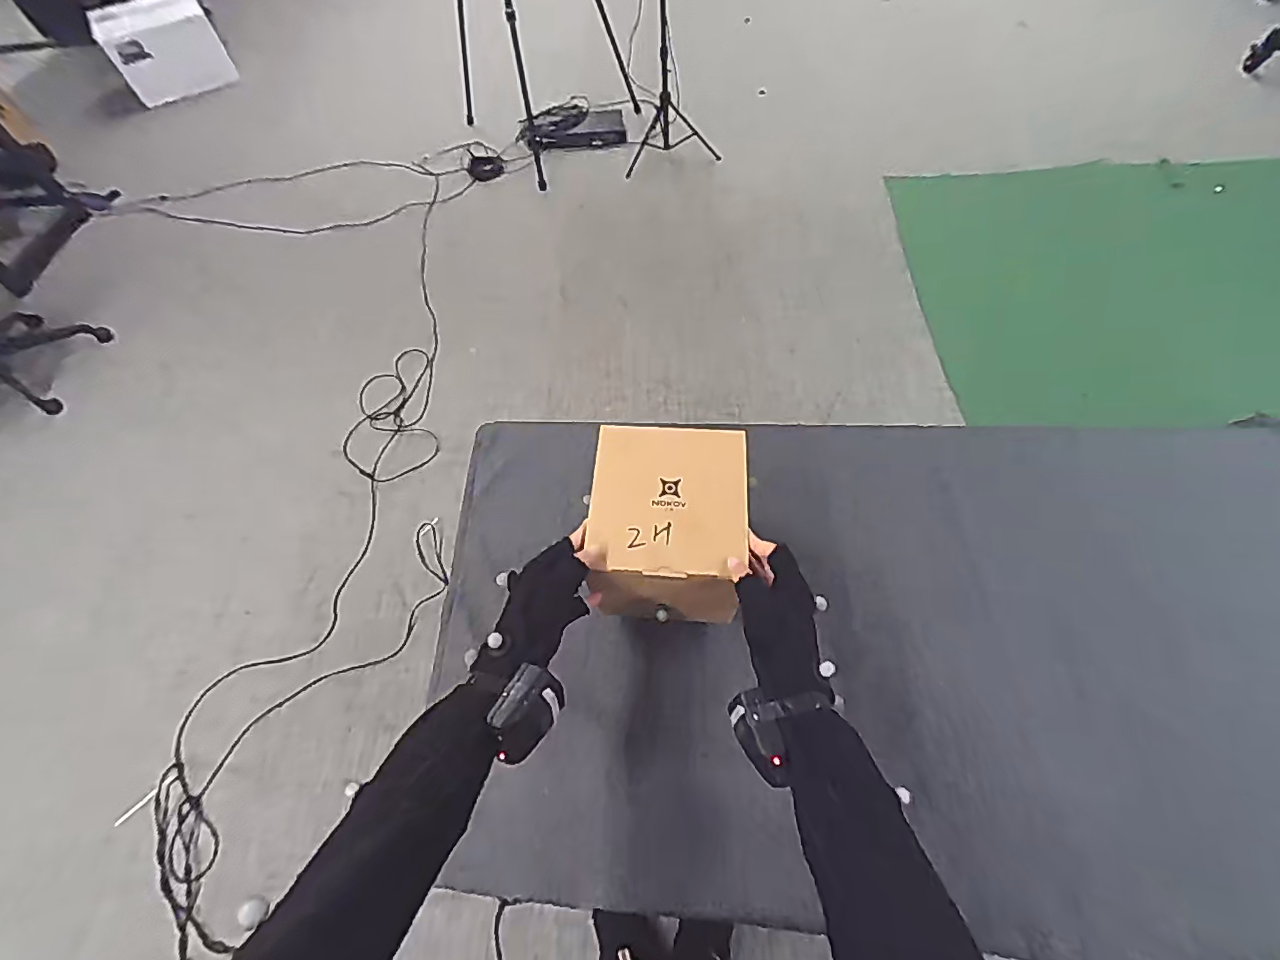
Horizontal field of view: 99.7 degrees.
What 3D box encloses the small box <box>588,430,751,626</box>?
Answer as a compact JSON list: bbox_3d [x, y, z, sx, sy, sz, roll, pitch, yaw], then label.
[{"bbox_3d":[0.037,0.061,0.643,0.168,0.176,0.179,2,61,4],"label":"small box"}]
